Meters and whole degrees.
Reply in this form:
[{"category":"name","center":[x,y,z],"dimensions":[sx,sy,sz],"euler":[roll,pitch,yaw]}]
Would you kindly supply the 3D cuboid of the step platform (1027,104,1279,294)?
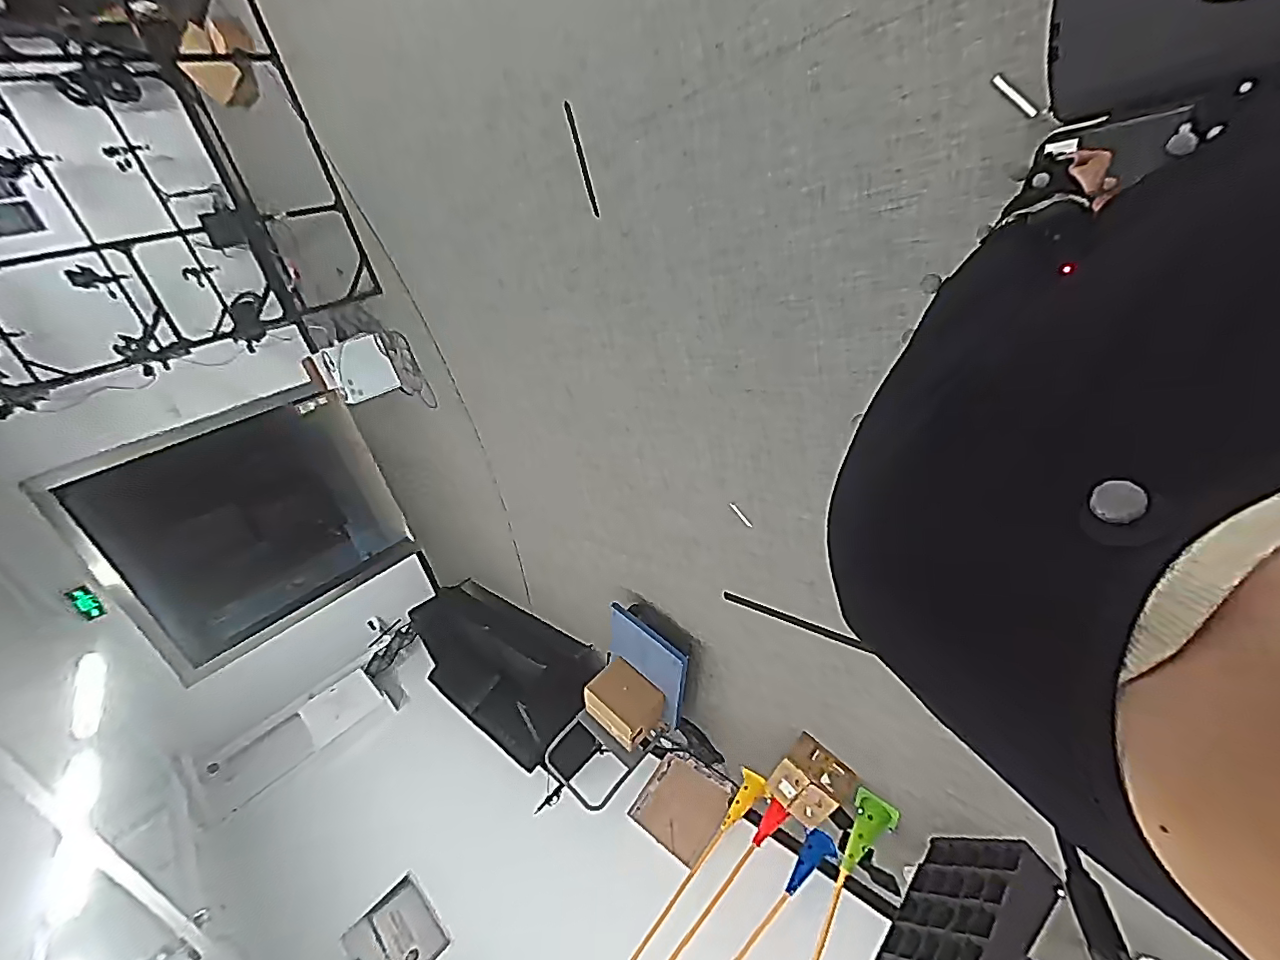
[{"category":"step platform","center":[1.067,-0.472,0.901],"dimensions":[0.684,0.204,0.286],"euler":[18,129,44]}]
